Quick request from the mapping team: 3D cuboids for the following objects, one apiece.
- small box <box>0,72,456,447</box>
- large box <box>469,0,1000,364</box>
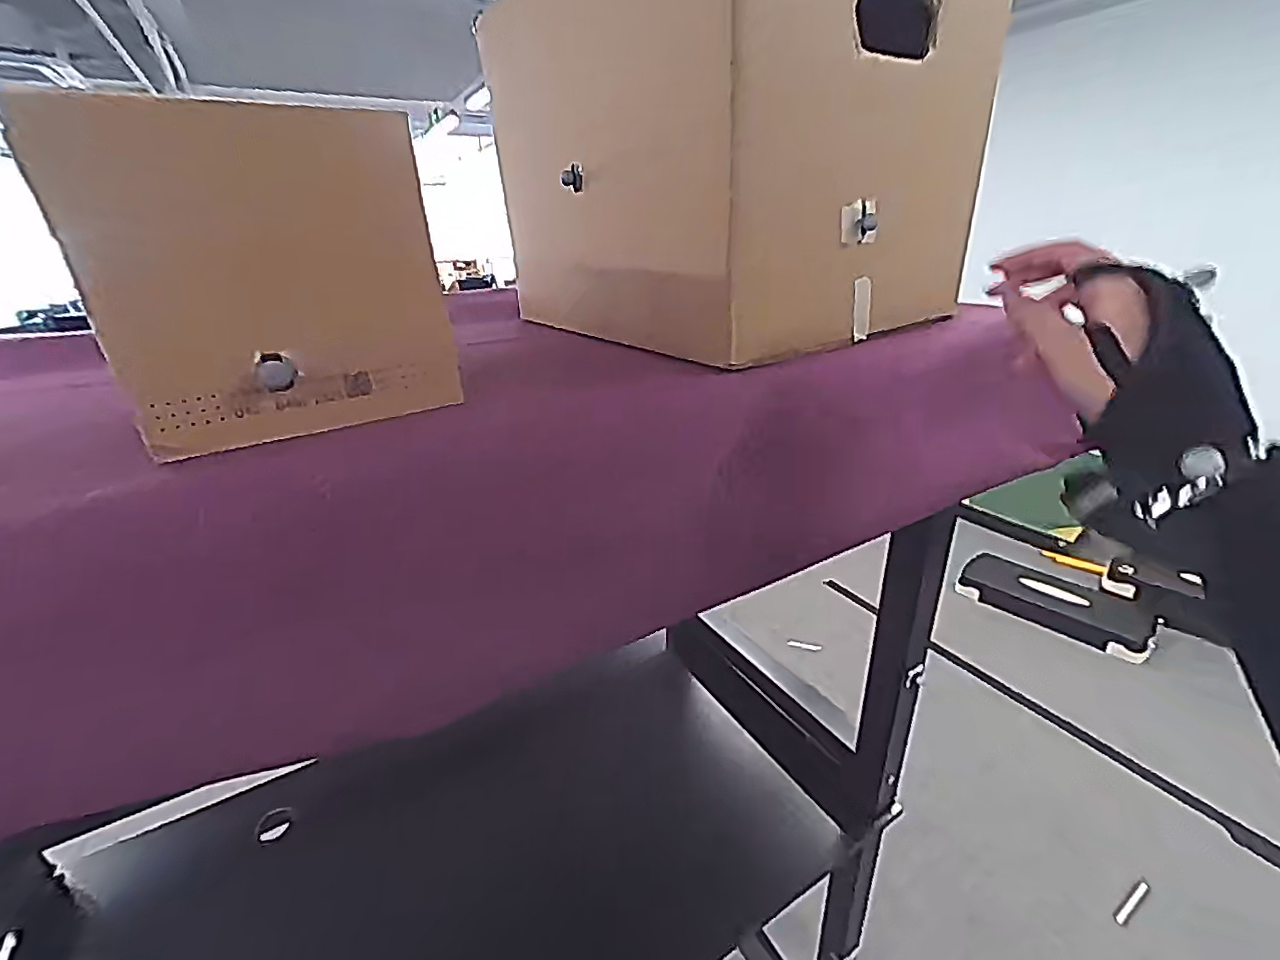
[{"bbox_3d":[-0.236,-0.133,0.350,0.168,0.176,0.179,-19,29,-29],"label":"small box"},{"bbox_3d":[0.068,-0.319,0.552,0.320,0.320,0.408,-18,28,-29],"label":"large box"}]
